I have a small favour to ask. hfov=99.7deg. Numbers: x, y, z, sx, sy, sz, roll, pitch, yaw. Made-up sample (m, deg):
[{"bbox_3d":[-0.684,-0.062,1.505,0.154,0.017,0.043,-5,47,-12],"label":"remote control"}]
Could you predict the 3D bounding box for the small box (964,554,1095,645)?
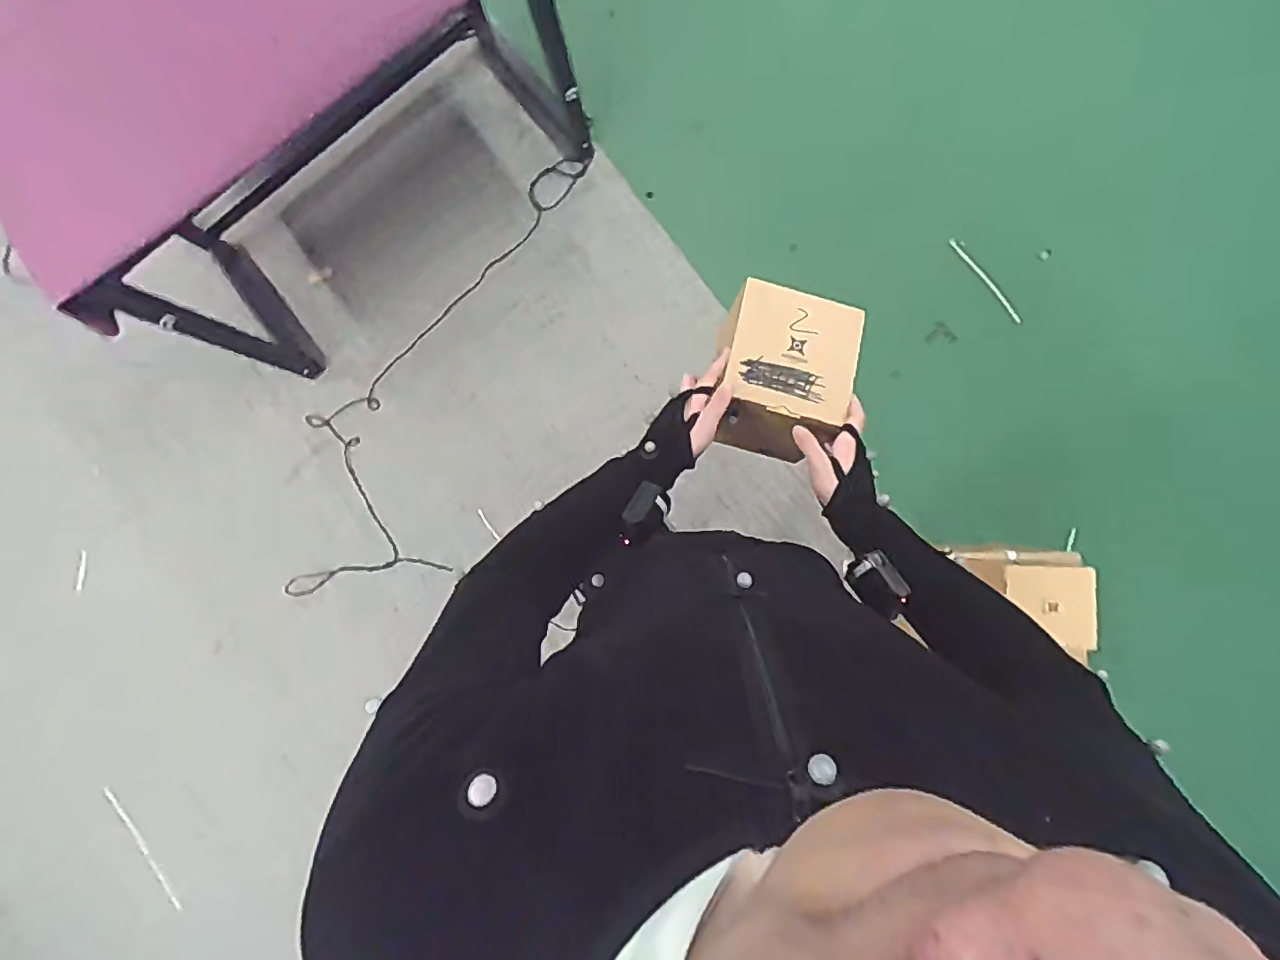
[{"bbox_3d":[0.845,0.253,1.184,0.179,0.176,0.168,0,89,6],"label":"small box"}]
